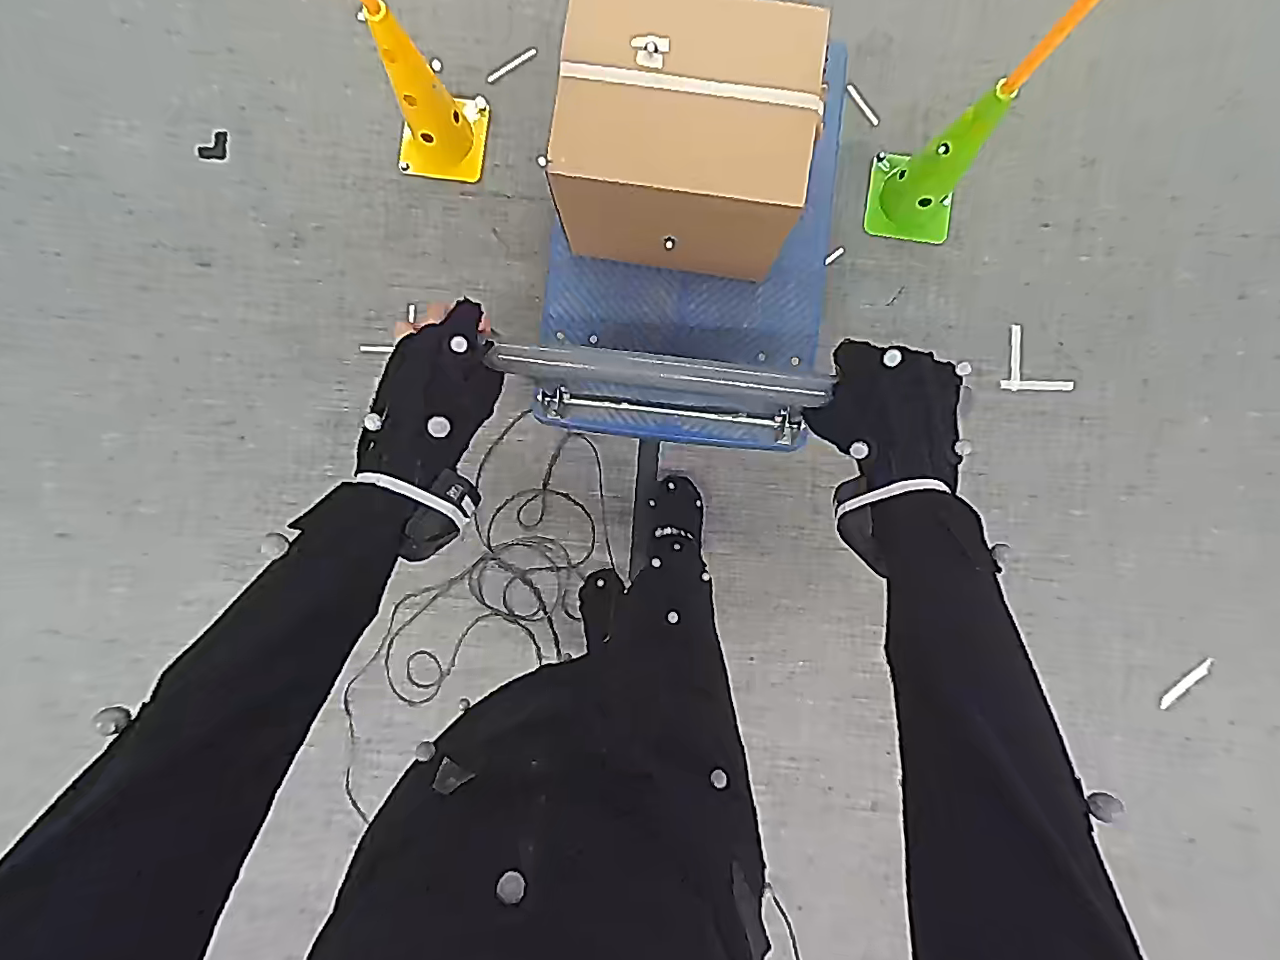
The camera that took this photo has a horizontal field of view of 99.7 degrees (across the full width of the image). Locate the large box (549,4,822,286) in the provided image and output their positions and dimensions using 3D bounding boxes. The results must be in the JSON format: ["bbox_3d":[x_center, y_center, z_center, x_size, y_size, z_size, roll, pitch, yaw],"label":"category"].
[{"bbox_3d":[0.077,-0.580,1.001,0.408,0.320,0.320,8,89,2],"label":"large box"}]

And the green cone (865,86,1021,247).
[{"bbox_3d":[0.652,-0.675,1.138,0.202,0.368,0.200,8,89,0],"label":"green cone"}]
